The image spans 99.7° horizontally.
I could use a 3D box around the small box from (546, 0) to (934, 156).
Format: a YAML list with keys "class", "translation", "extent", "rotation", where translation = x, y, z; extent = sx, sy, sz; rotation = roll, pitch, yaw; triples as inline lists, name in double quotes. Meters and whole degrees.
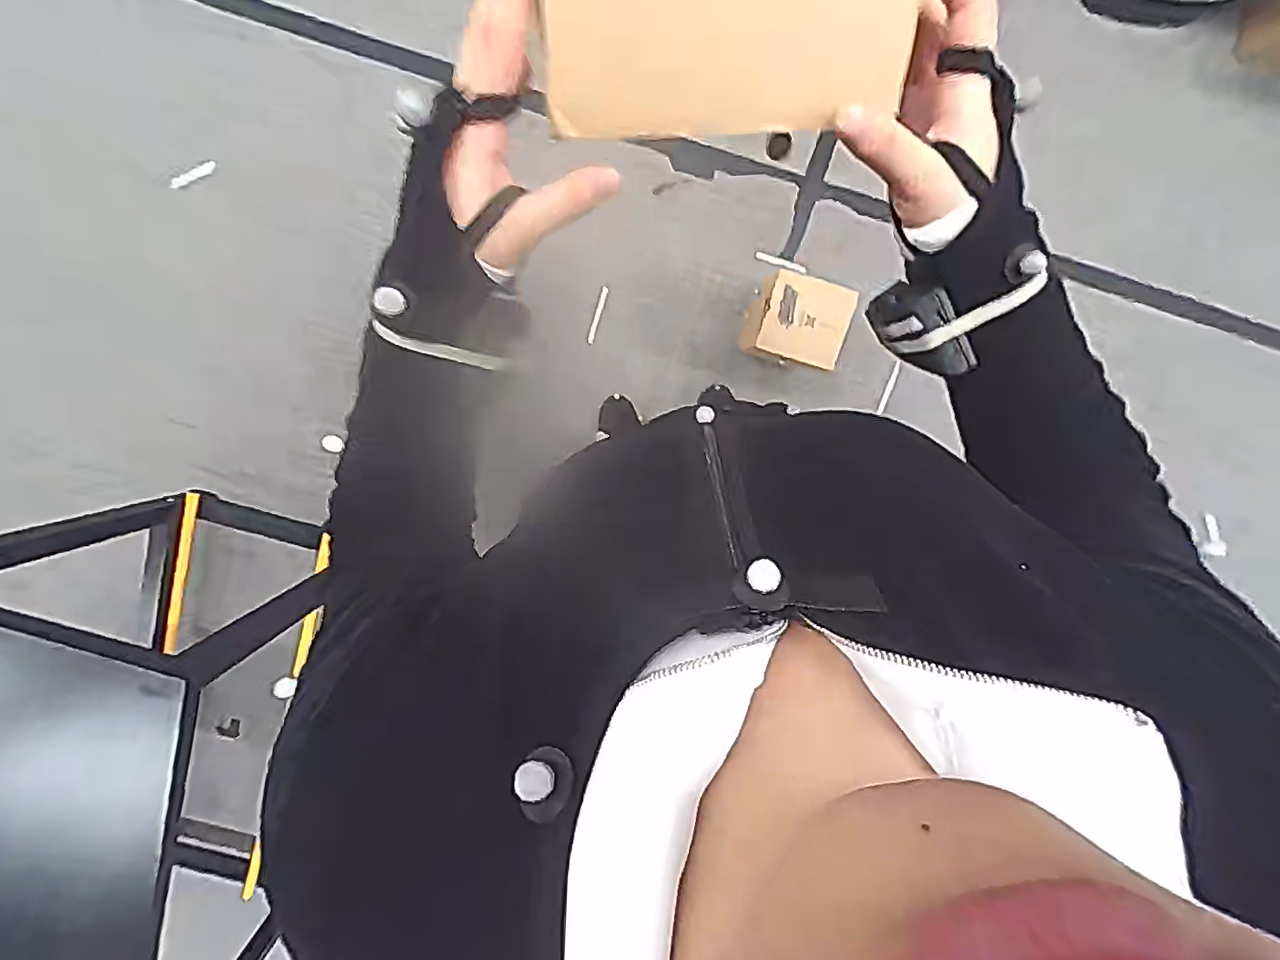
- class: "small box"
  translation: [0.037, -0.279, 0.287]
  extent: [0.179, 0.176, 0.168]
  rotation: [-5, 127, -5]

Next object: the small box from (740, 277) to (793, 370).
- class: "small box"
  translation: [0.359, -0.380, 1.348]
  extent: [0.168, 0.176, 0.179]
  rotation: [19, 101, -3]

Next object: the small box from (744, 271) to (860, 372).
- class: "small box"
  translation: [0.342, -0.337, 1.187]
  extent: [0.179, 0.176, 0.168]
  rotation: [17, 101, -3]
